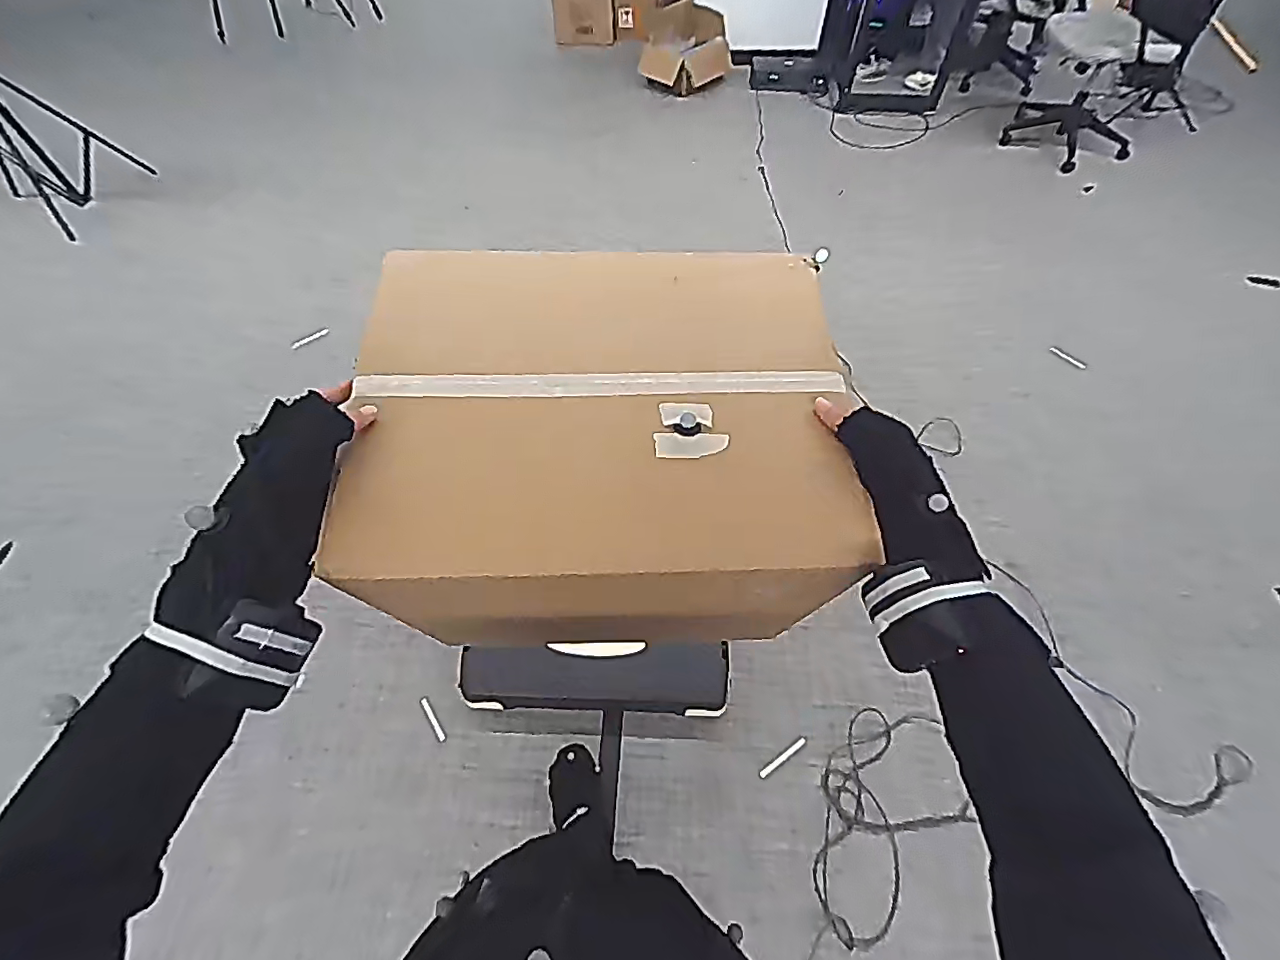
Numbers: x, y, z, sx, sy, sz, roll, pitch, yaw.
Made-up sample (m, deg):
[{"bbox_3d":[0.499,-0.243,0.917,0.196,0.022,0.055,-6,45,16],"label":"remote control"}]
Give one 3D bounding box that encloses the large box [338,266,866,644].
[{"bbox_3d":[-0.036,-0.008,0.599,0.408,0.320,0.320,-1,64,-3],"label":"large box"}]
